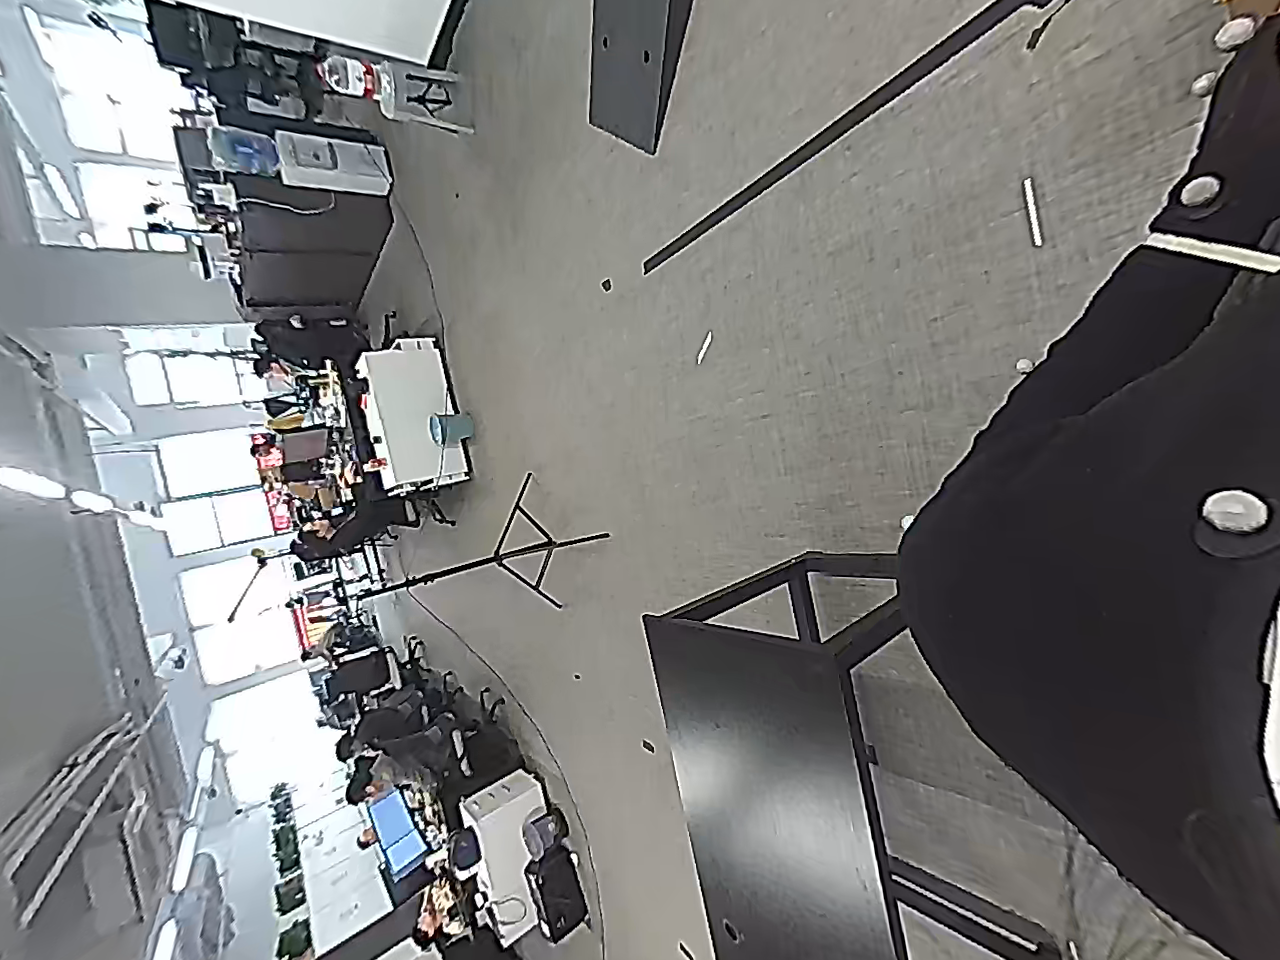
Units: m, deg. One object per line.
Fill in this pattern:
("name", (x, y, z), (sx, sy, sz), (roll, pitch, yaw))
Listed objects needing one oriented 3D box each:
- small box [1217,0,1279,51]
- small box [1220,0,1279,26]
("small box", (1.016, -0.811, 0.826), (0.179, 0.176, 0.168), (-9, 95, 53))
("small box", (0.891, -0.773, 0.726), (0.168, 0.176, 0.179), (-9, 95, 54))
